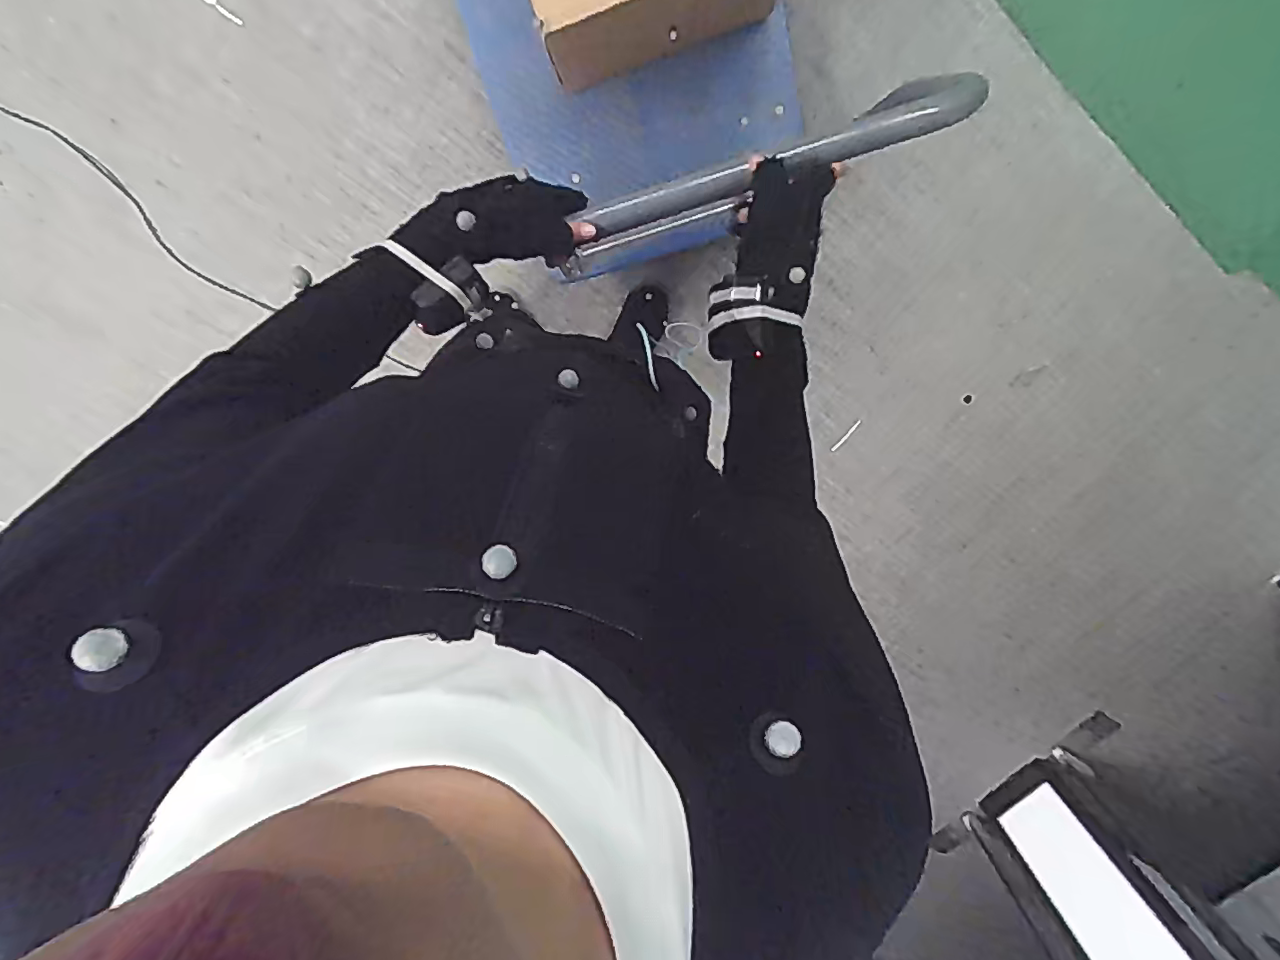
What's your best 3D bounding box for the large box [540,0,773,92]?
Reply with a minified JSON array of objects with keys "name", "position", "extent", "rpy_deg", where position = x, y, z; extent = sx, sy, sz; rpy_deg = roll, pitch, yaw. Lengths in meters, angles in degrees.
[{"name":"large box","position":[0.013,-0.890,0.842],"extent":[0.408,0.320,0.320],"rpy_deg":[-18,111,8]}]
